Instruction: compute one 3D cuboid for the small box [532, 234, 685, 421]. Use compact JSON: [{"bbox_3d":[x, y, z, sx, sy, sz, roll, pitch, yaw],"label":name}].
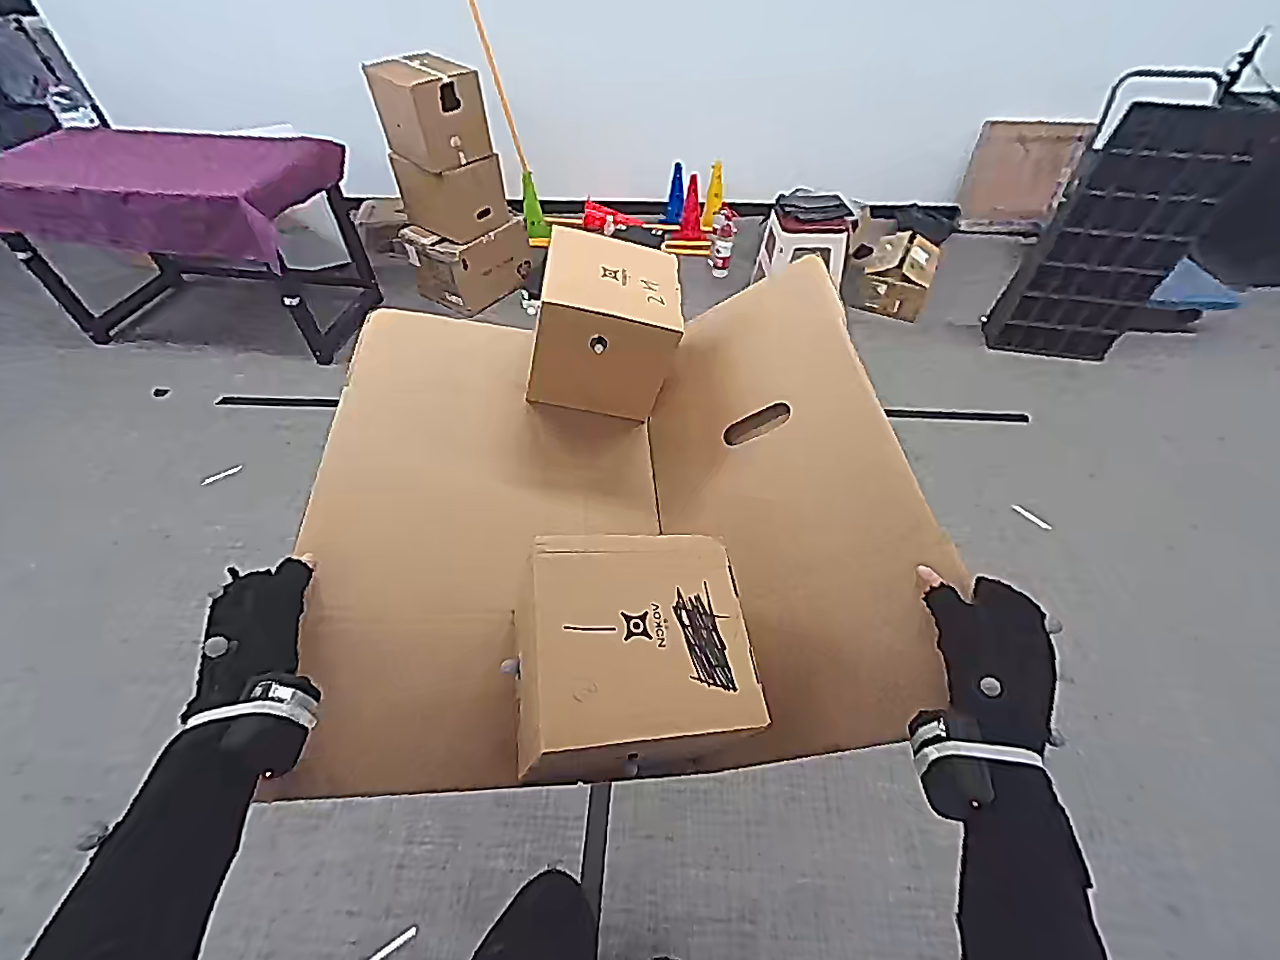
[{"bbox_3d":[-0.048,-0.203,0.751,0.179,0.176,0.168,10,53,-13],"label":"small box"}]
